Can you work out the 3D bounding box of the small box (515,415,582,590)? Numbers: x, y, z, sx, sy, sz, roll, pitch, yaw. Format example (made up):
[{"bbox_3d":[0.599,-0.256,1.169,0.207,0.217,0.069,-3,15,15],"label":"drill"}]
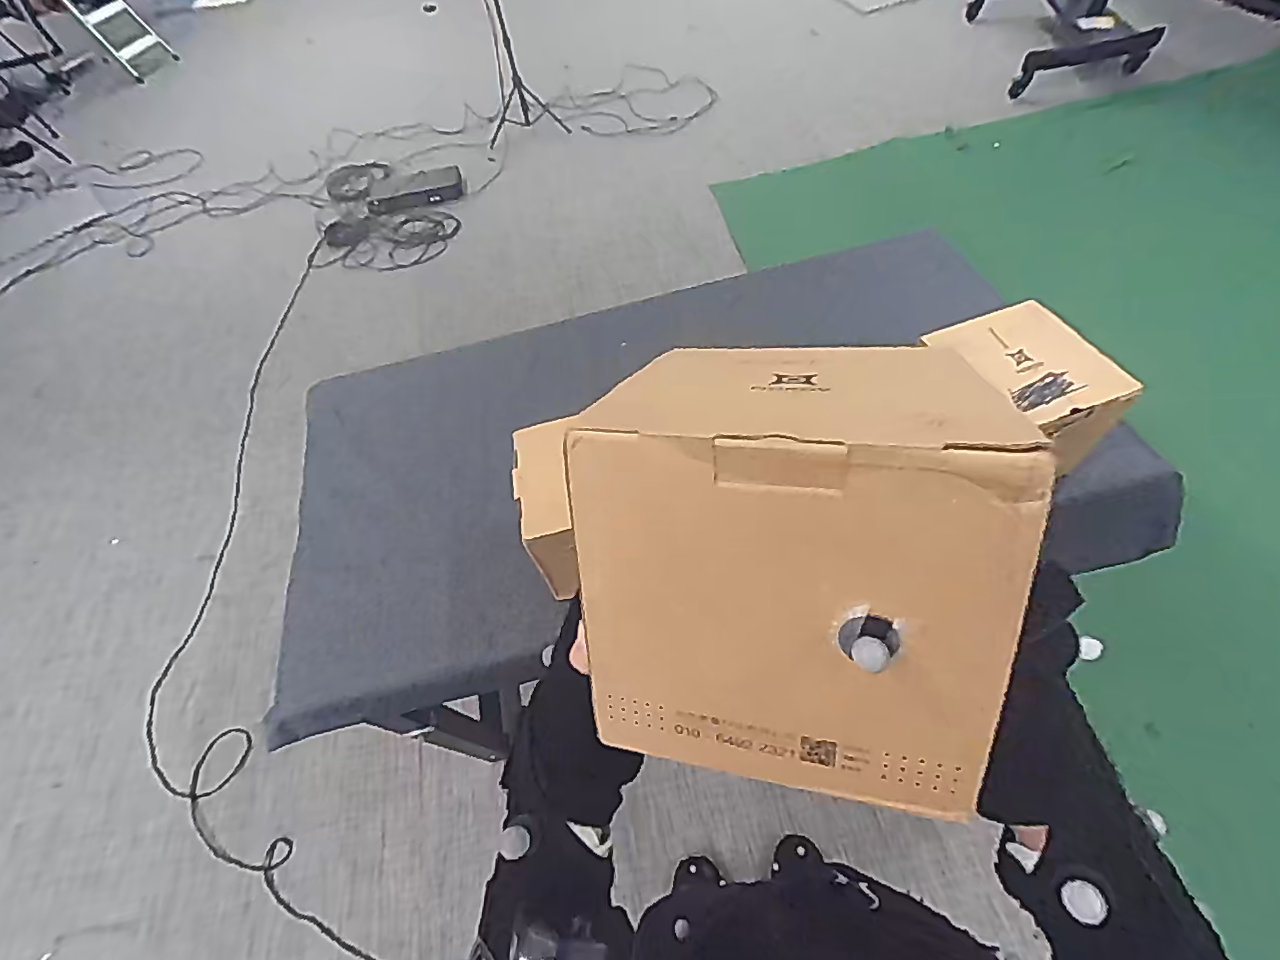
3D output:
[{"bbox_3d":[-0.051,0.027,0.710,0.179,0.176,0.168,-13,55,-1],"label":"small box"}]

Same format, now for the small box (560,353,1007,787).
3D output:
[{"bbox_3d":[0.073,0.028,0.301,0.168,0.176,0.179,5,23,17],"label":"small box"}]

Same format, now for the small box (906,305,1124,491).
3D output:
[{"bbox_3d":[0.460,-0.094,0.720,0.168,0.176,0.179,-18,55,-4],"label":"small box"}]
